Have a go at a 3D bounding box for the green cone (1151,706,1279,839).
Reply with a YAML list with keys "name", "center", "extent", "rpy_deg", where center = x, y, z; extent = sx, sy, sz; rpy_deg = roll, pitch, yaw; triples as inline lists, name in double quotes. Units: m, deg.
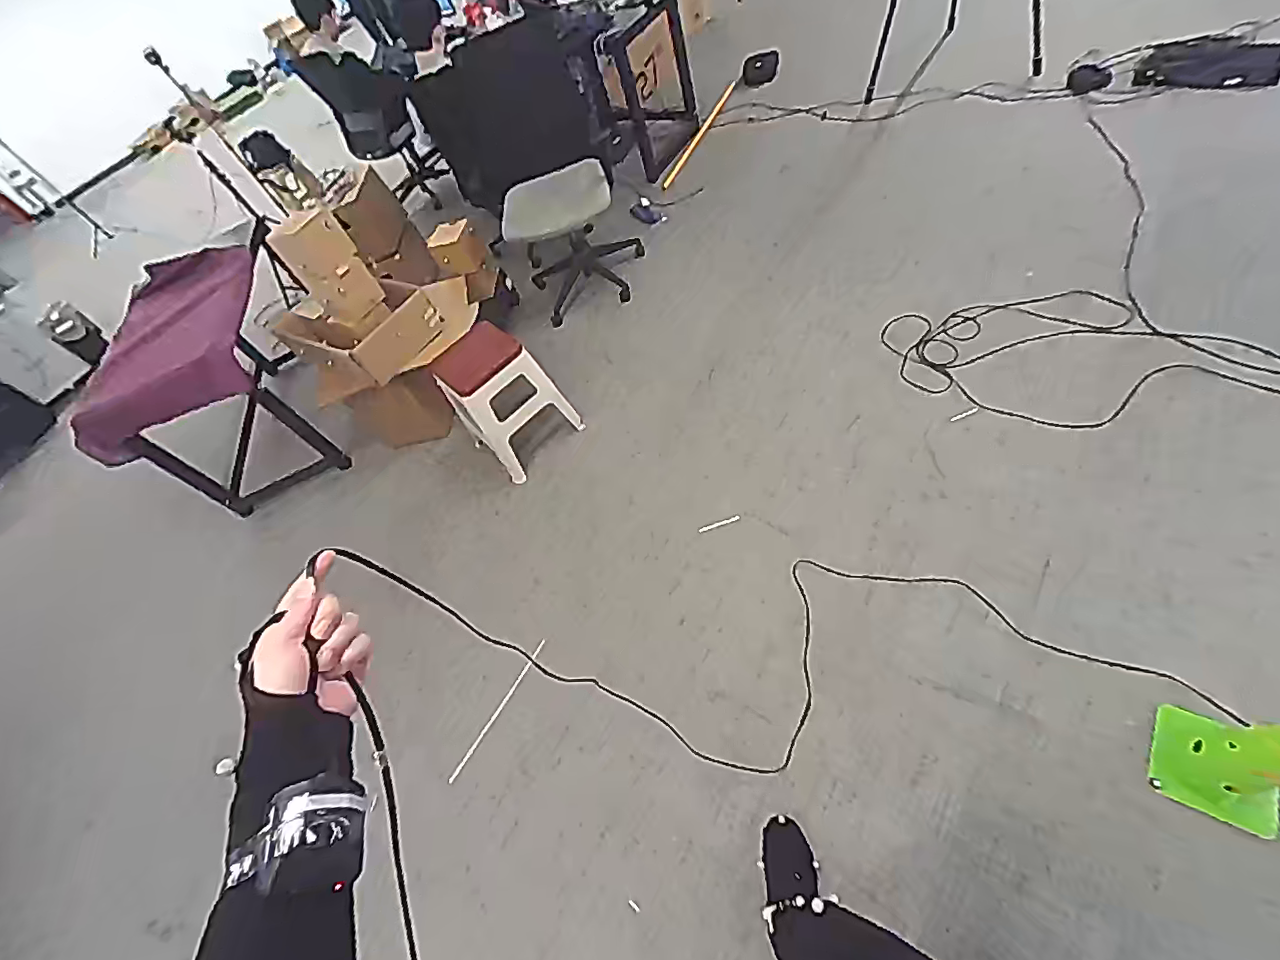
- name: "green cone"
  center: [1.162, 0.508, 1.002]
  extent: [0.200, 0.368, 0.202]
  rpy_deg: [18, 63, 29]
